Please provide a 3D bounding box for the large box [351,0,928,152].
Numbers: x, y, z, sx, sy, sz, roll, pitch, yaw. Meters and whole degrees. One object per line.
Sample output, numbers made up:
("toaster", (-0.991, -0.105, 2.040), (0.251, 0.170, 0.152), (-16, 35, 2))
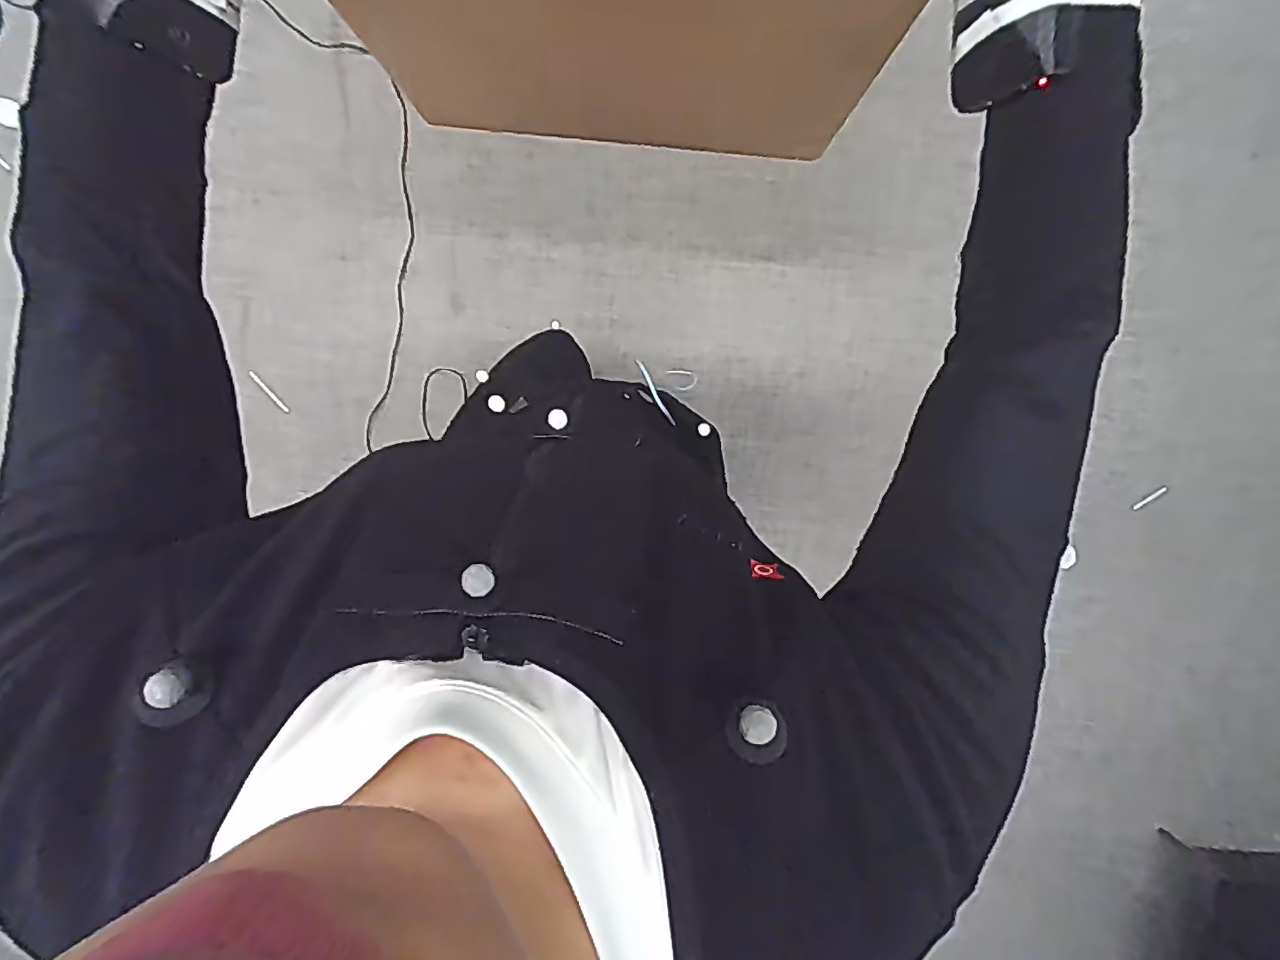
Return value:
("large box", (0.000, -0.476, 0.386), (0.408, 0.320, 0.320), (5, 99, -1))
